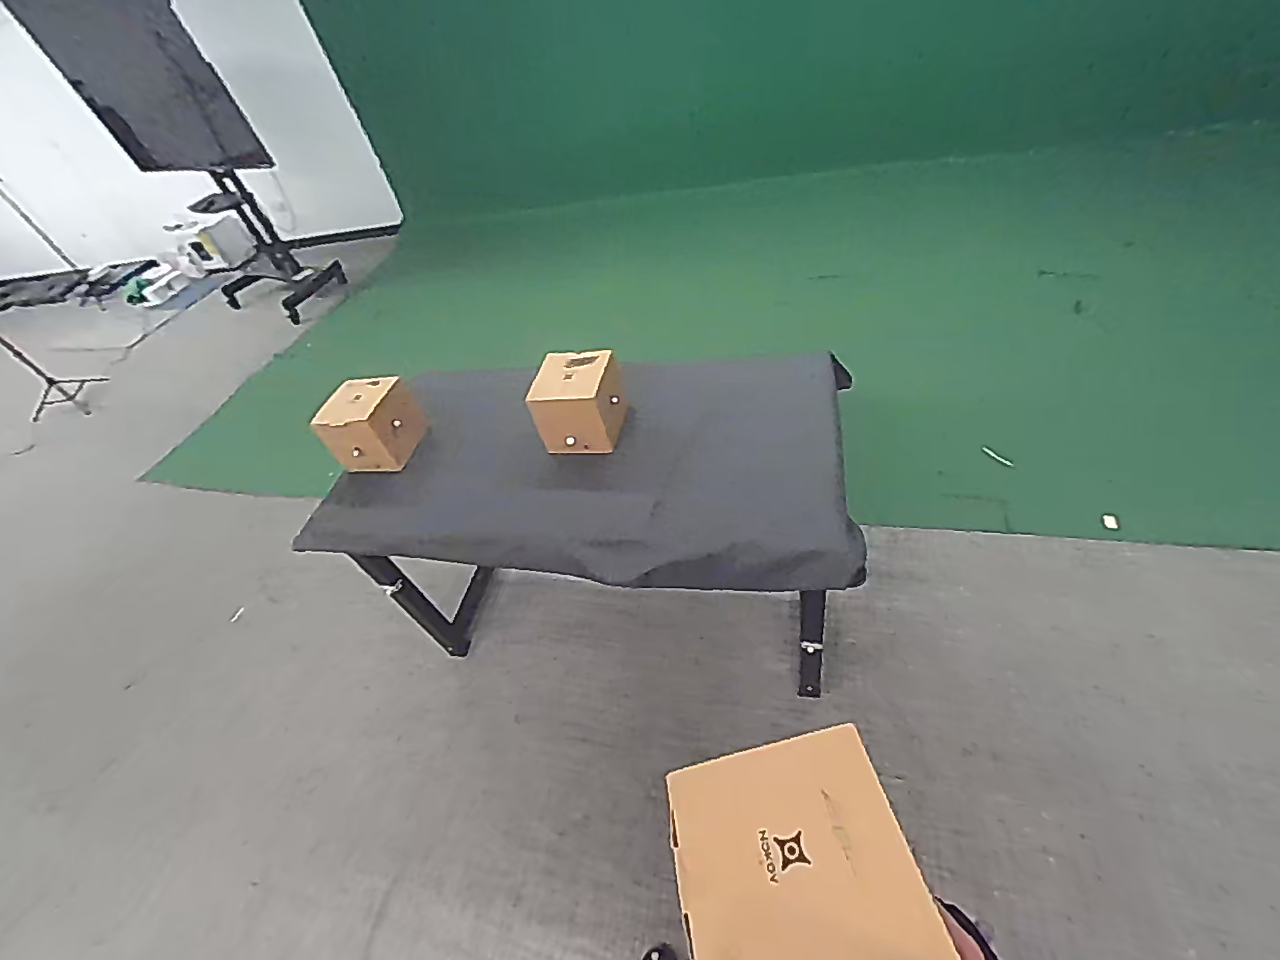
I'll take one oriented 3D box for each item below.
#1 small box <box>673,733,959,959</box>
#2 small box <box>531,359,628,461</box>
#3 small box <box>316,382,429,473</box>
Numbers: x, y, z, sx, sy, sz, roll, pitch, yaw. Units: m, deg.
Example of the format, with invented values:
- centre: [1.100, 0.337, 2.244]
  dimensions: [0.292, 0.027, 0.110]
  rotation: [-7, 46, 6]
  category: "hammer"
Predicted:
- centre: [0.144, 0.358, 0.469]
  dimensions: [0.179, 0.176, 0.168]
  rotation: [-18, 36, 4]
  category: "small box"
- centre: [-0.134, -0.165, 1.280]
  dimensions: [0.168, 0.176, 0.179]
  rotation: [1, 48, 16]
  category: "small box"
- centre: [-0.674, -0.130, 1.390]
  dimensions: [0.168, 0.176, 0.179]
  rotation: [0, 47, 14]
  category: "small box"
